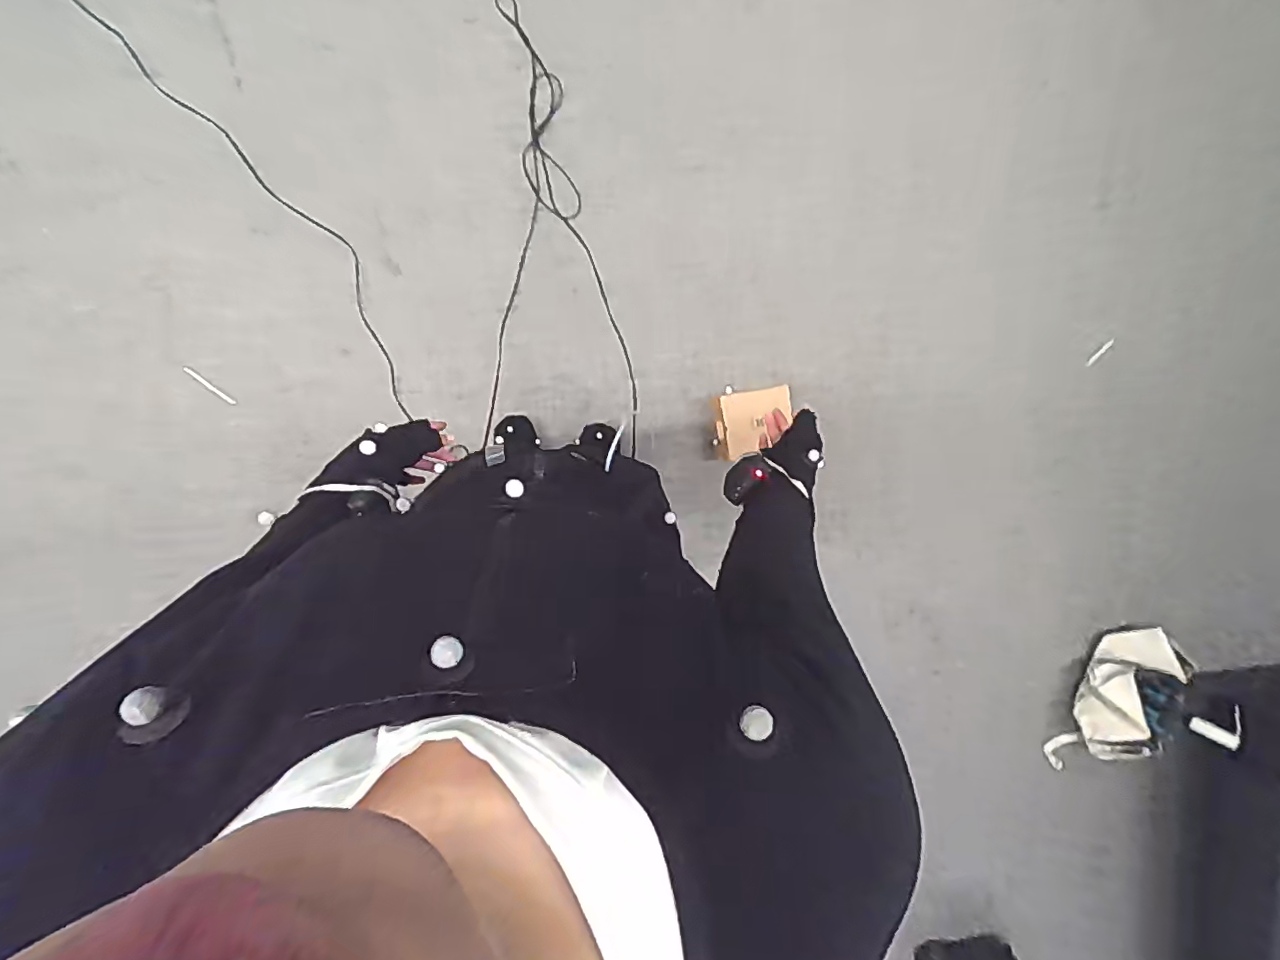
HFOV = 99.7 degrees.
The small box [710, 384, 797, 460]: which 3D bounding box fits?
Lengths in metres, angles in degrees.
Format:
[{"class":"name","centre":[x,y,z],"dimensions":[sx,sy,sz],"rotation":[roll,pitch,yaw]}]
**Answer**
[{"class":"small box","centre":[0.284,-0.151,1.393],"dimensions":[0.179,0.176,0.168],"rotation":[-10,99,-4]}]
